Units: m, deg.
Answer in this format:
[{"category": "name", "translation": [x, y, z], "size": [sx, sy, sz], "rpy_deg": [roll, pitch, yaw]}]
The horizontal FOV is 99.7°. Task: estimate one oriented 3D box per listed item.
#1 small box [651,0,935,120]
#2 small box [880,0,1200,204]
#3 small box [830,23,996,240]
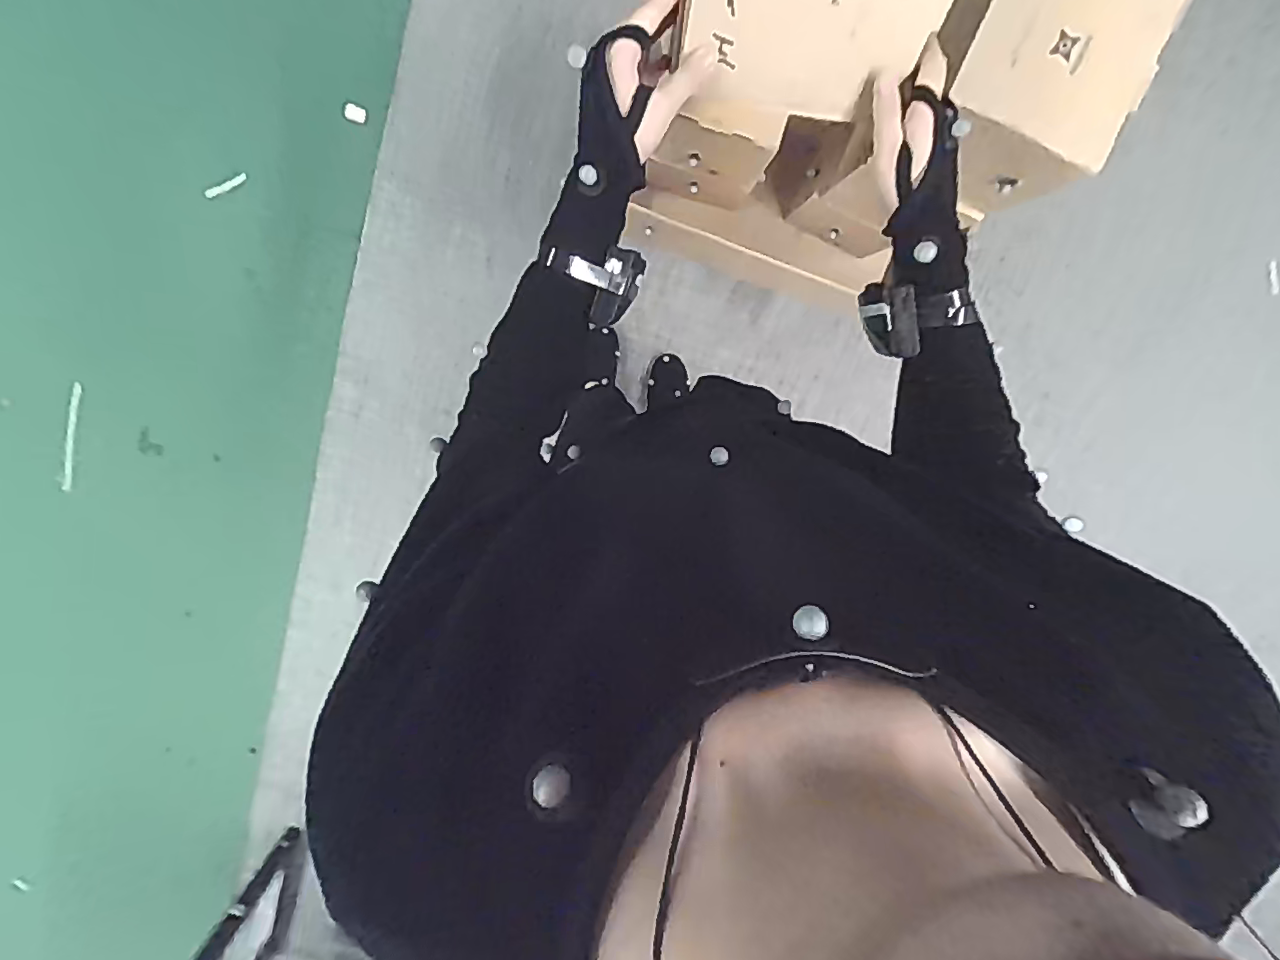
[{"category": "small box", "translation": [0.111, -0.396, 0.395], "size": [0.179, 0.176, 0.168], "rpy_deg": [2, 141, -9]}, {"category": "small box", "translation": [0.398, -0.419, 0.573], "size": [0.179, 0.176, 0.168], "rpy_deg": [22, 101, -5]}, {"category": "small box", "translation": [0.389, -0.449, 0.734], "size": [0.179, 0.176, 0.168], "rpy_deg": [22, 102, -6]}]
